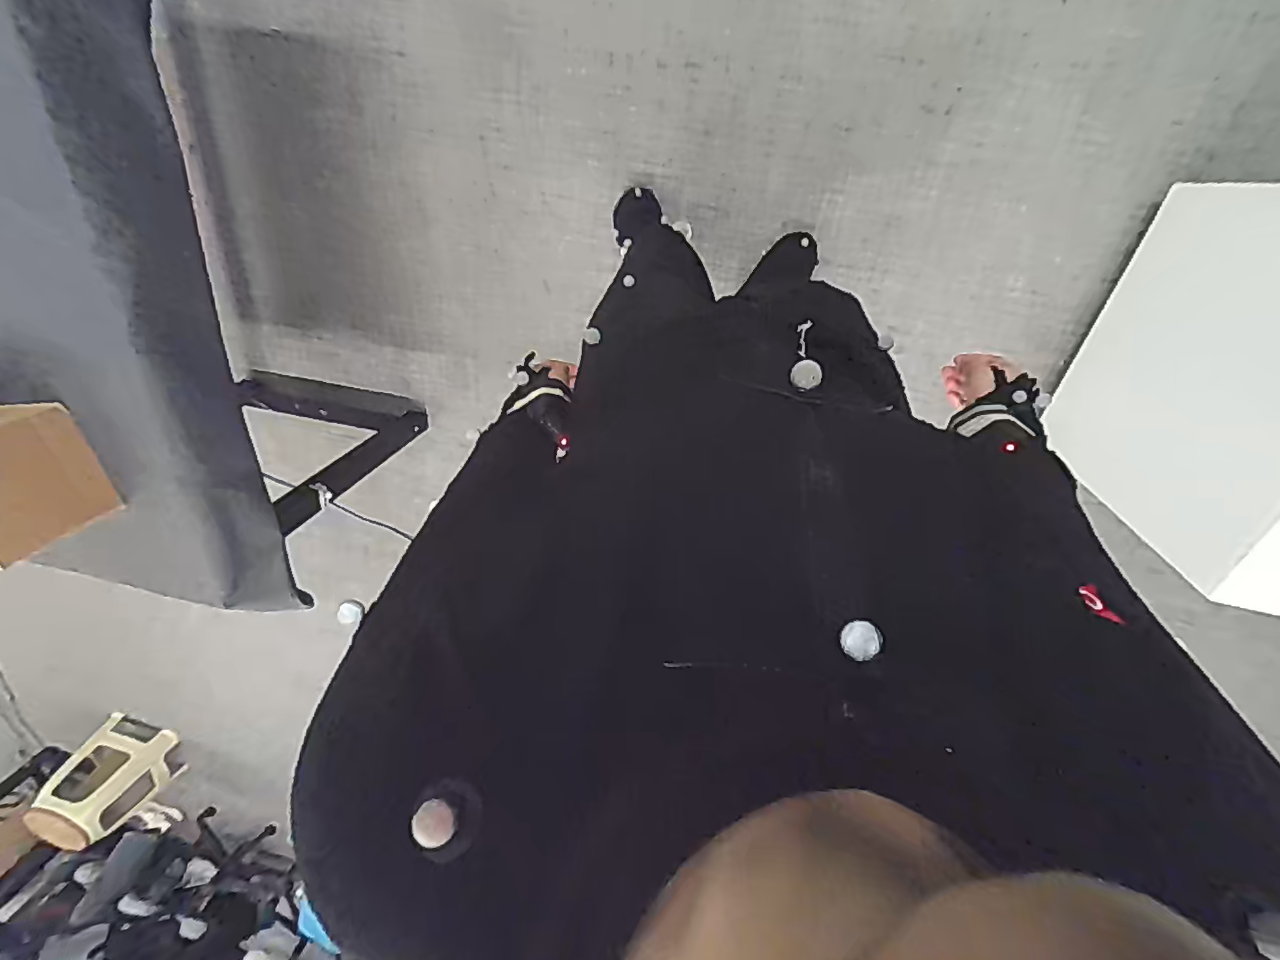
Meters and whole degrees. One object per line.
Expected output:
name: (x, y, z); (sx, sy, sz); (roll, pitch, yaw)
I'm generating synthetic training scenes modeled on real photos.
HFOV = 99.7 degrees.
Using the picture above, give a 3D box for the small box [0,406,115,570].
small box: (-0.908, 0.008, 0.751); (0.168, 0.176, 0.179); (0, 117, 12)
